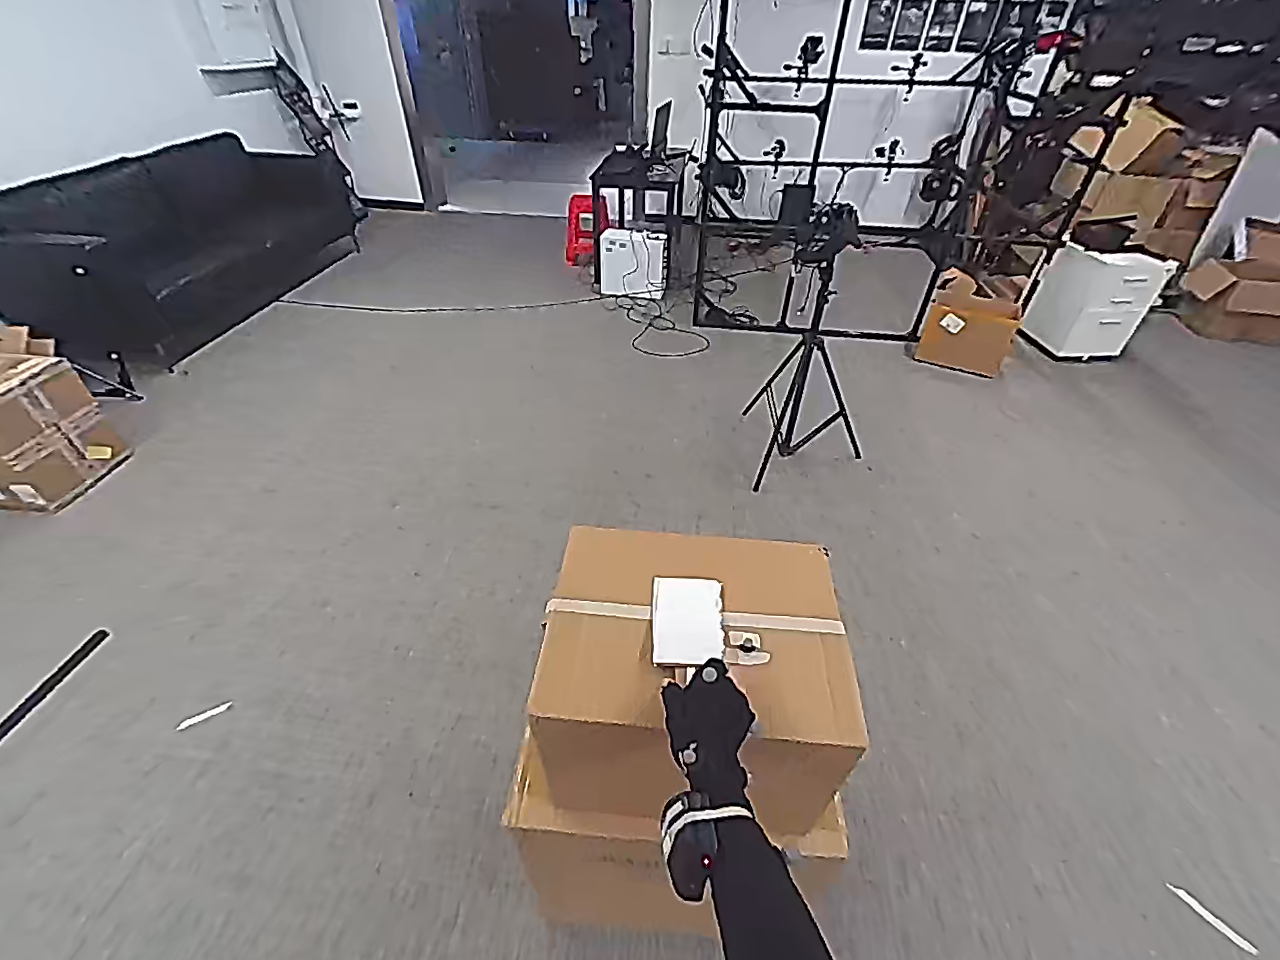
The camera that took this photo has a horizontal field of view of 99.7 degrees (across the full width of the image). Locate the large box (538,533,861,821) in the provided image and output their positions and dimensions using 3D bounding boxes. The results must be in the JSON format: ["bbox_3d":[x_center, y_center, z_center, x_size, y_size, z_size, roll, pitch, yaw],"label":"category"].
[{"bbox_3d":[0.074,0.310,0.863,0.408,0.320,0.320,4,42,2],"label":"large box"}]
